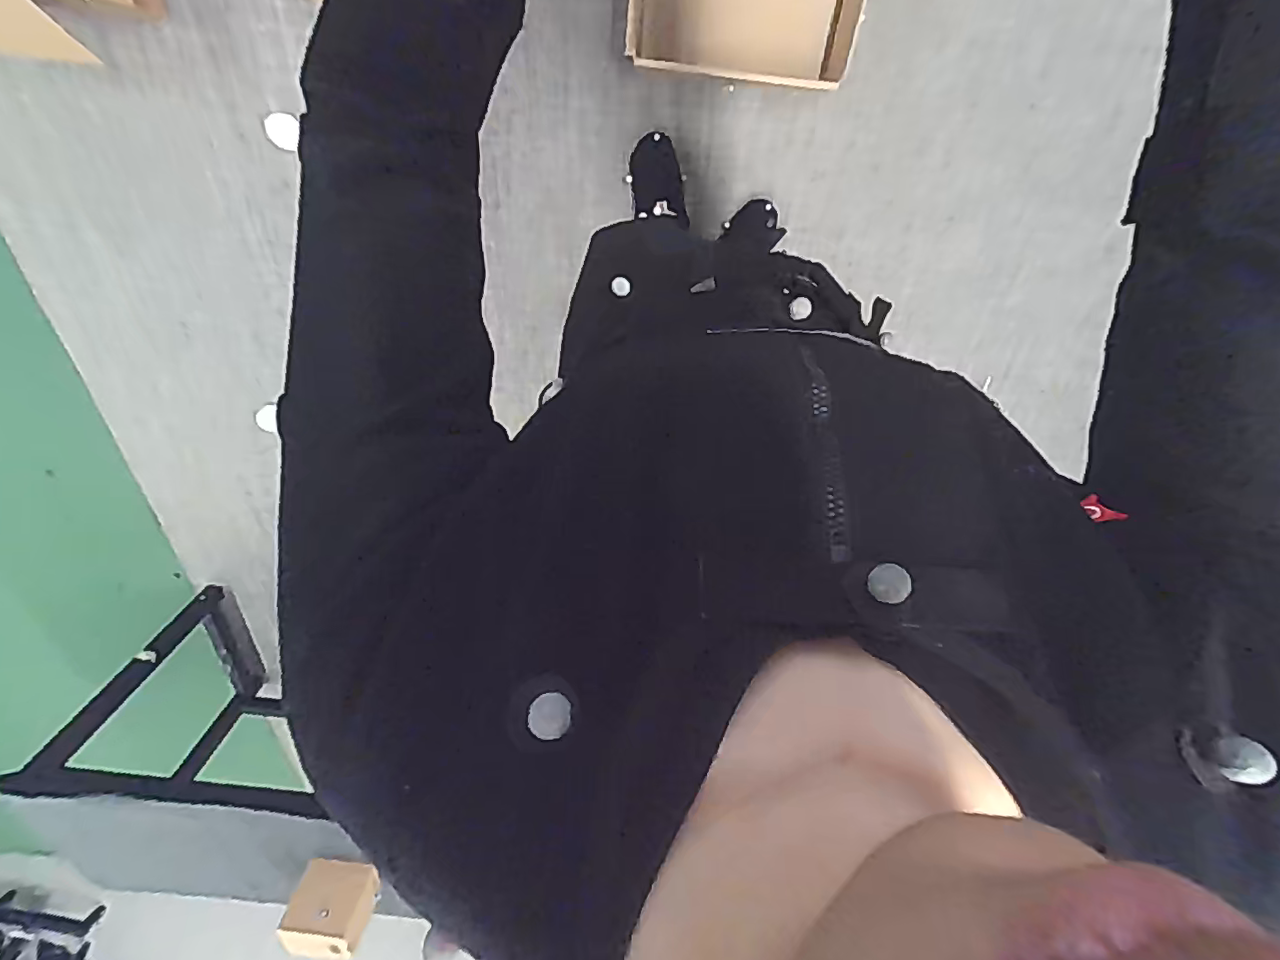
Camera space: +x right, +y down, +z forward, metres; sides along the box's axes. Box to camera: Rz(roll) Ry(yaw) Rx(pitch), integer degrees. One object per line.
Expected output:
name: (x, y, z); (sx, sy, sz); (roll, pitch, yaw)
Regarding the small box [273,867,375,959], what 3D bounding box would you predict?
small box: (-0.830, 1.170, 1.446); (0.179, 0.176, 0.168); (9, 122, -2)
